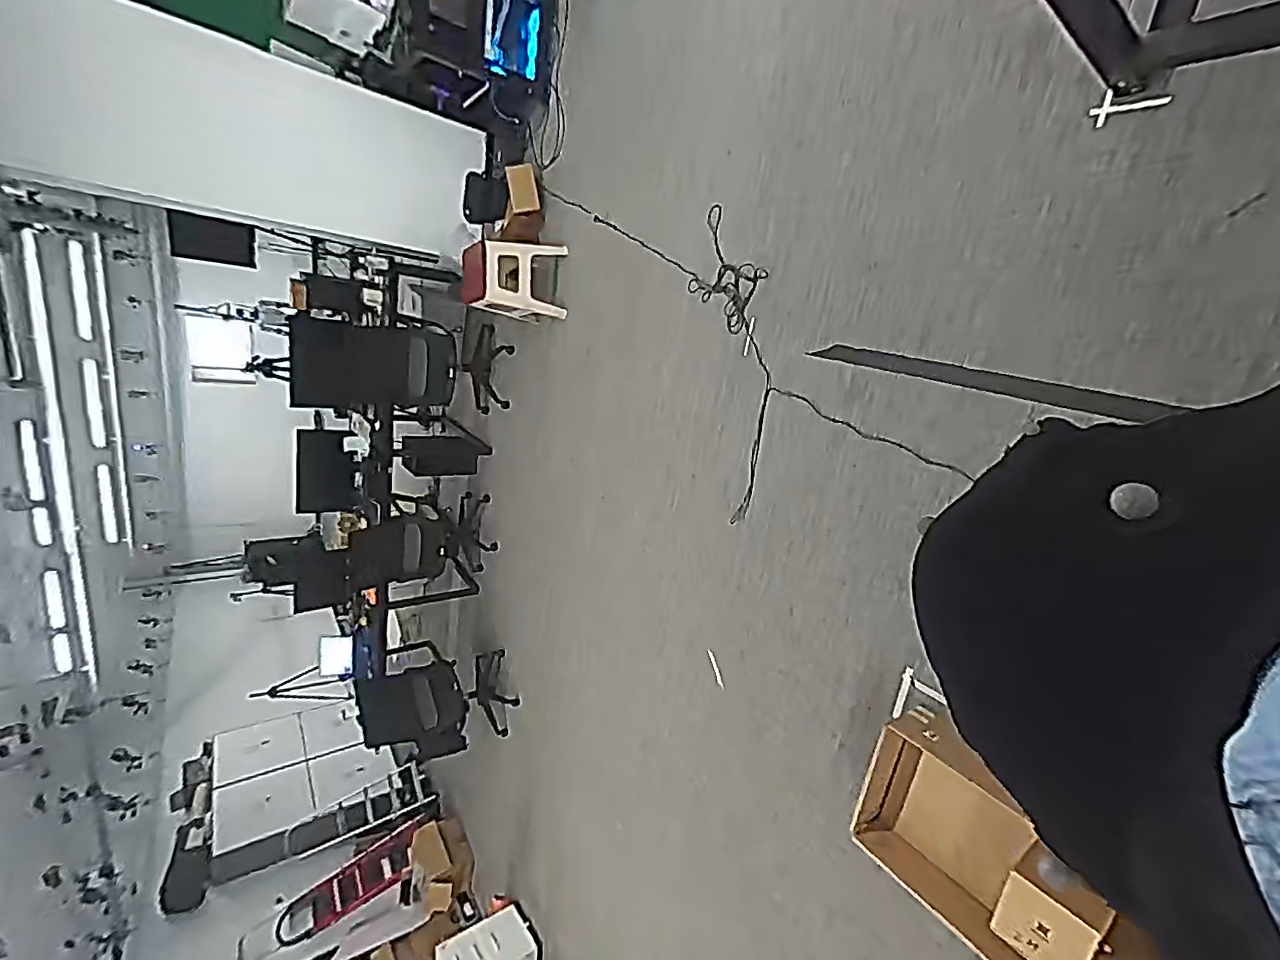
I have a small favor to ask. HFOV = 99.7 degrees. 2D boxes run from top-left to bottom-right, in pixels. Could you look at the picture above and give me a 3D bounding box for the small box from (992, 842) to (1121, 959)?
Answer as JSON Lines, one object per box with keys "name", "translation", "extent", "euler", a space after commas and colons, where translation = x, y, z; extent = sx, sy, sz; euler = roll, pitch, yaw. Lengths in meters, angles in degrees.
{"name": "small box", "translation": [0.928, 0.961, 1.202], "extent": [0.168, 0.176, 0.179], "euler": [26, 113, 50]}
